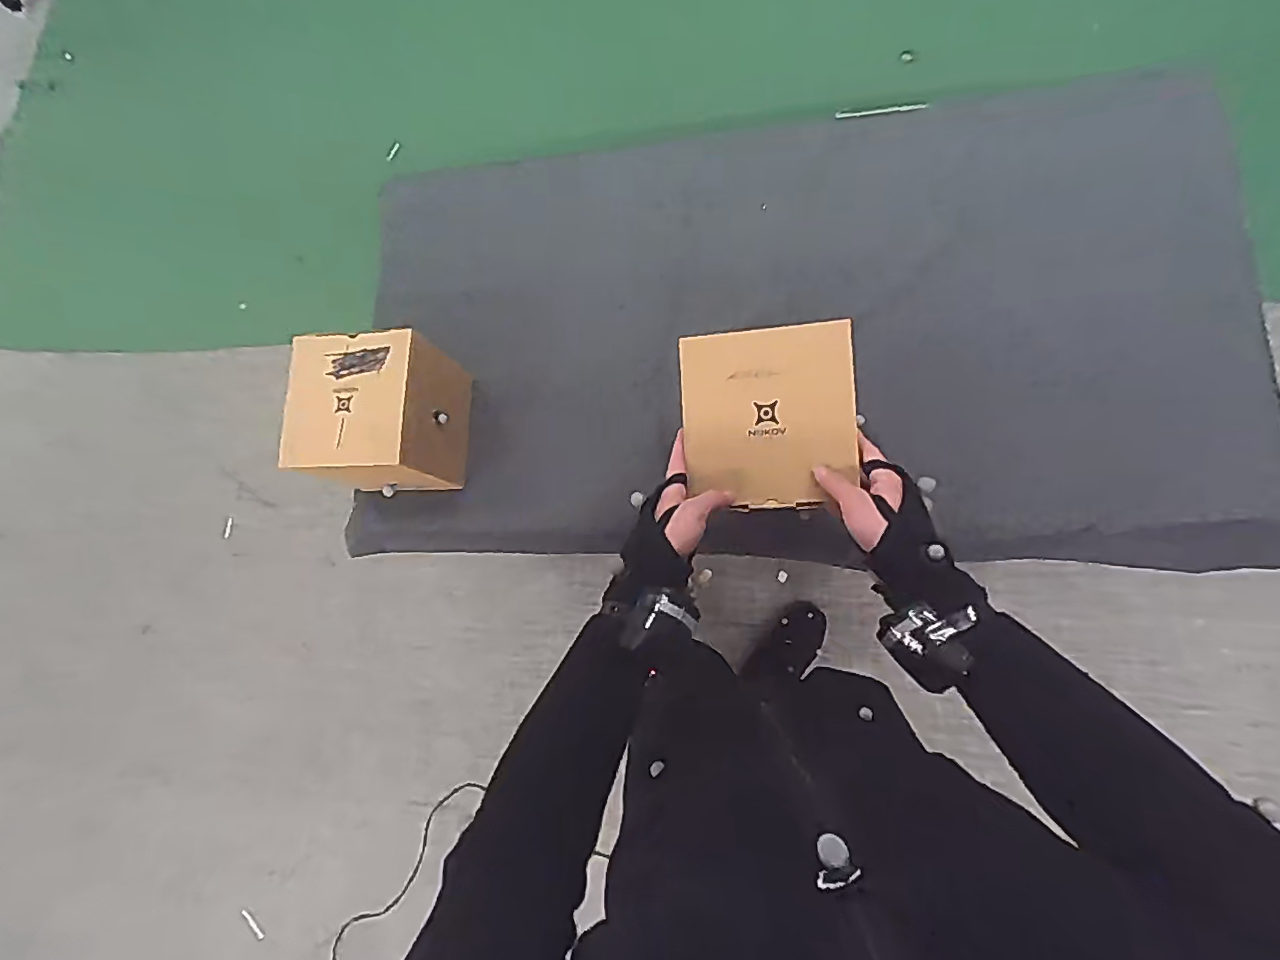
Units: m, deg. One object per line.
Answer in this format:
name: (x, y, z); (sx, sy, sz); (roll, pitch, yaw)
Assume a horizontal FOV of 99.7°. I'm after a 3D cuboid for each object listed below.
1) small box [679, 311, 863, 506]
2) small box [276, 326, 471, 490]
small box: (0.138, -0.062, 0.591); (0.168, 0.176, 0.179); (-4, 85, 11)
small box: (-0.345, -0.088, 0.734); (0.168, 0.176, 0.179); (-1, 79, 9)
